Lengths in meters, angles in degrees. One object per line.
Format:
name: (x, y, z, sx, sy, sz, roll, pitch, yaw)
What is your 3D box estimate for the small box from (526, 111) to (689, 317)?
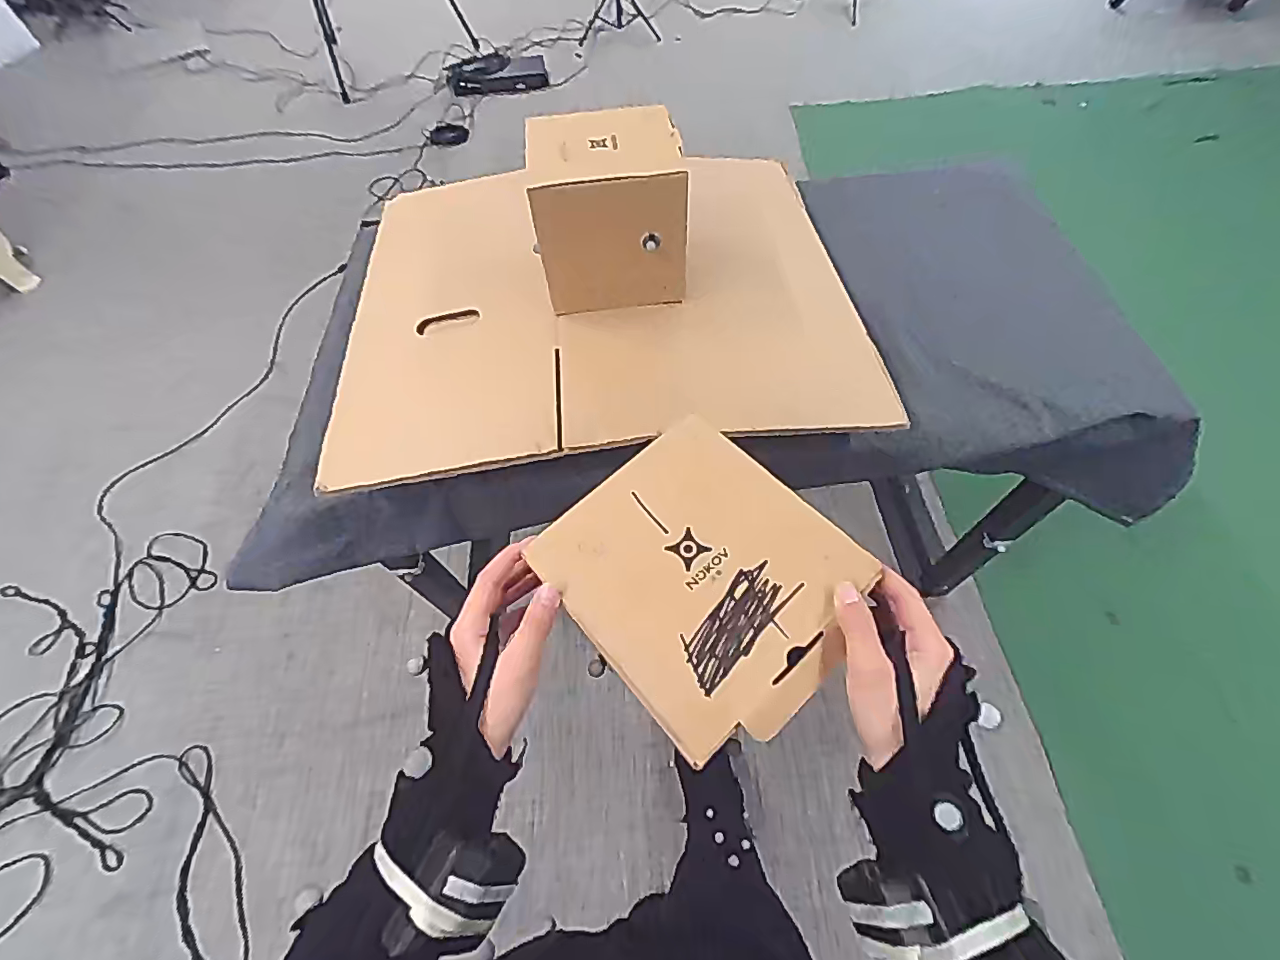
small box: (-0.039, -0.329, 0.681, 0.179, 0.176, 0.168, -8, 56, -1)
